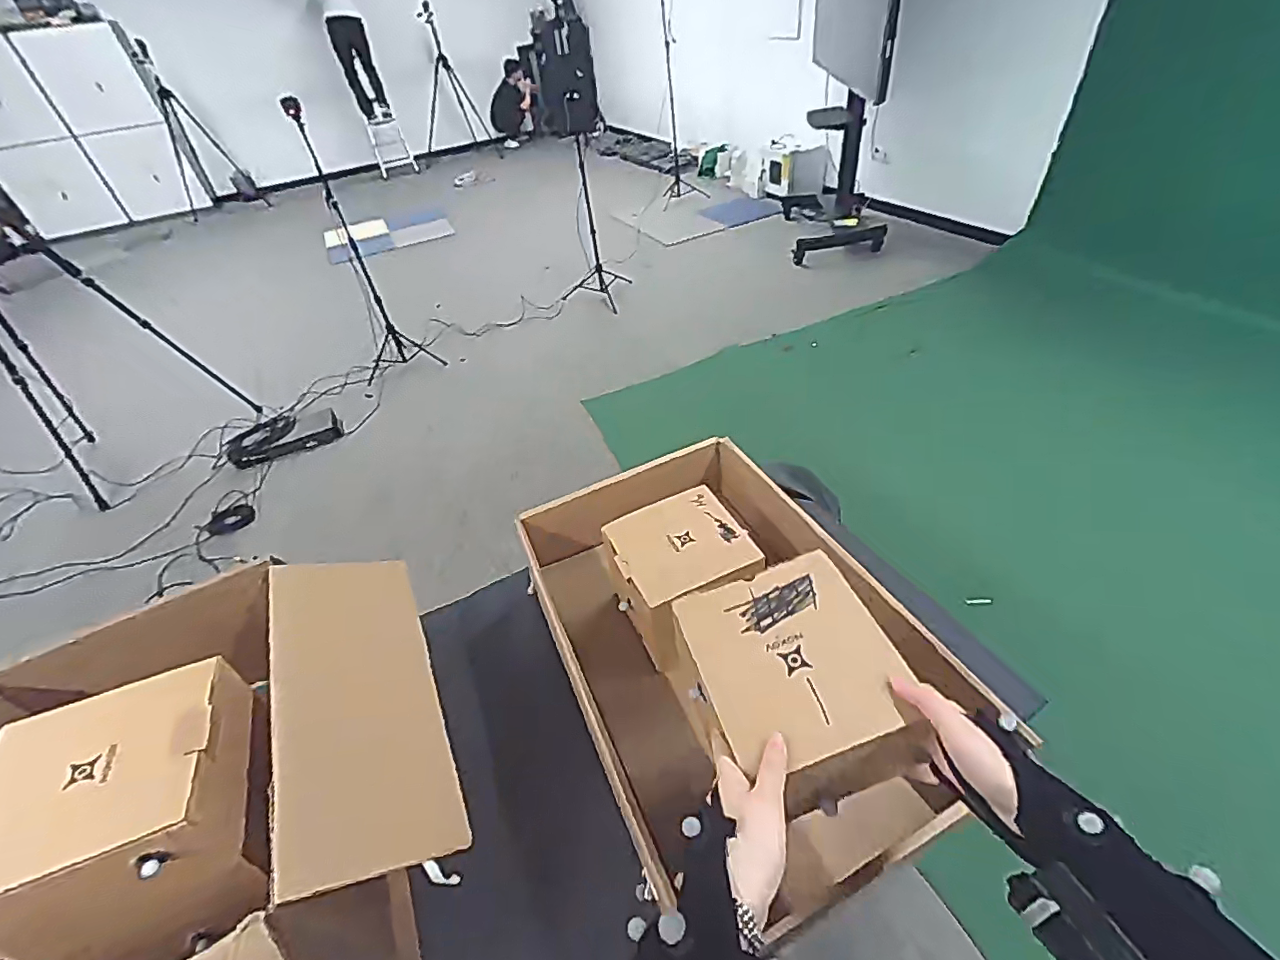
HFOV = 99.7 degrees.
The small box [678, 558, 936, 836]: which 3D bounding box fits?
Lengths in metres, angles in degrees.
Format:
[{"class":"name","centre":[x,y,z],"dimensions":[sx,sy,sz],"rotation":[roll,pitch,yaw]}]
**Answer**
[{"class":"small box","centre":[0.145,0.213,0.535],"dimensions":[0.168,0.176,0.179],"rotation":[-18,46,-7]}]
